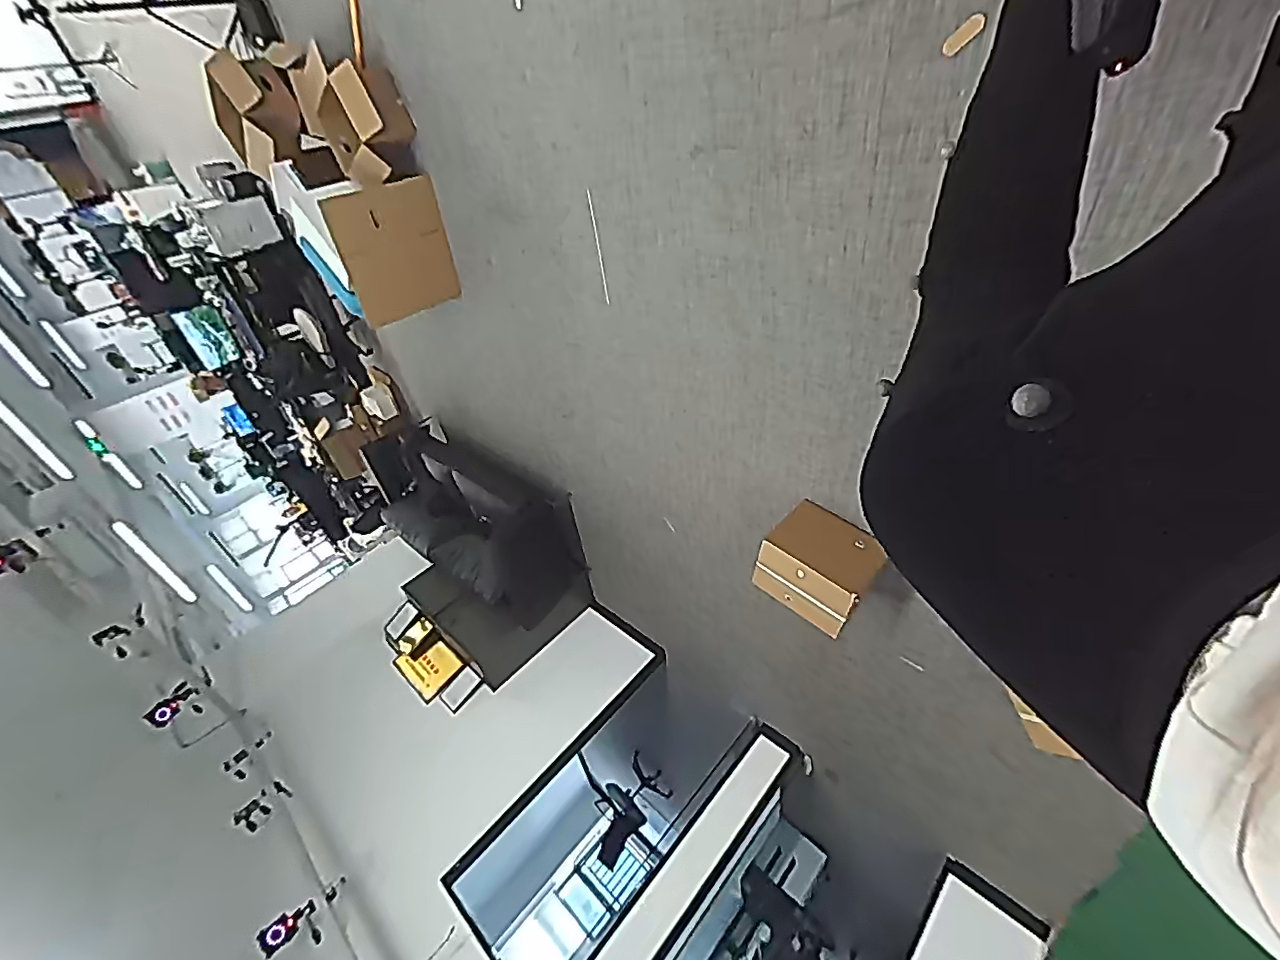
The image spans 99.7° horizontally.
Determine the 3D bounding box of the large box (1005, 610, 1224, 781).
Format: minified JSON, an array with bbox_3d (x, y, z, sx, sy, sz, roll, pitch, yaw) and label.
[{"bbox_3d":[1.418,0.614,1.628,0.408,0.320,0.320,-14,111,56],"label":"large box"}]
